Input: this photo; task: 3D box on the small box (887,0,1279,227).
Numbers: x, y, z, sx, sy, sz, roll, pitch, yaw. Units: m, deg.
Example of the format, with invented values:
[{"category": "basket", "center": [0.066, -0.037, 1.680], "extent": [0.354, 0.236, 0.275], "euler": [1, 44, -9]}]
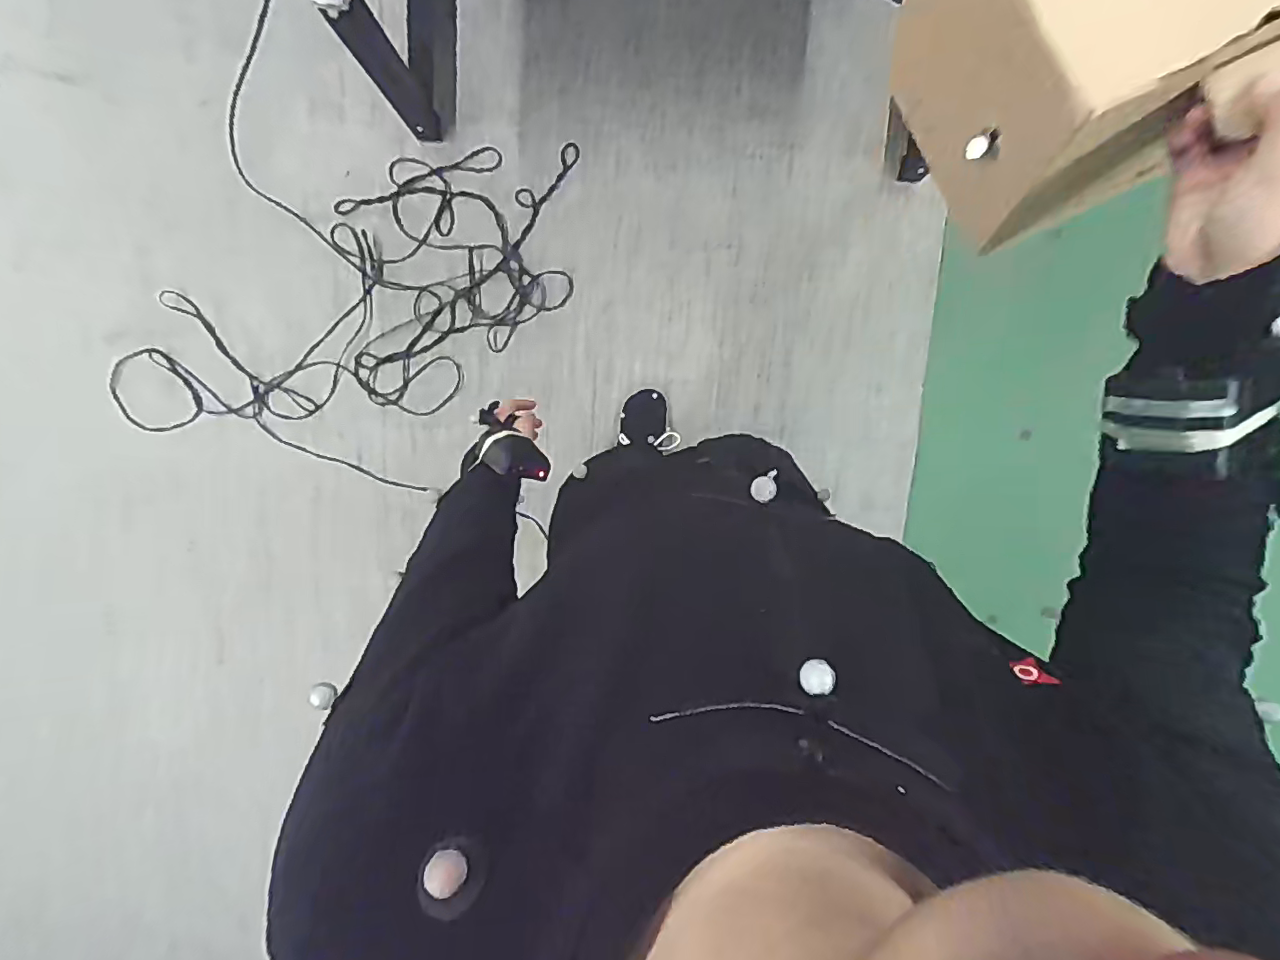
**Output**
[{"category": "small box", "center": [0.278, -0.288, 0.330], "extent": [0.168, 0.176, 0.179], "euler": [-25, 82, 12]}]
